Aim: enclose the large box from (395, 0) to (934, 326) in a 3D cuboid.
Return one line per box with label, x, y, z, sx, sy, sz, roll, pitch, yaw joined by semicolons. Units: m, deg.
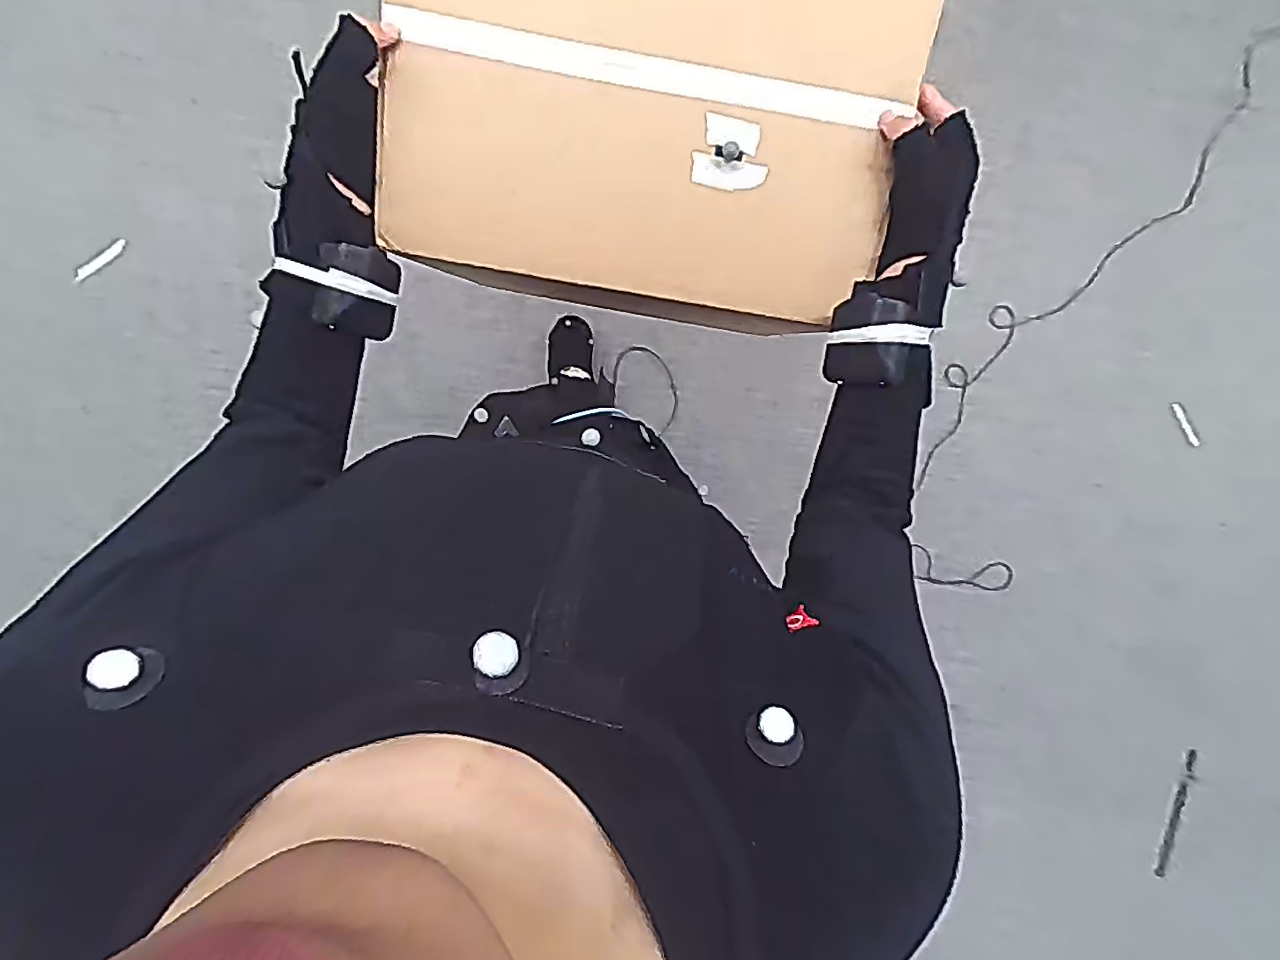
large box;0.009;-0.348;0.562;0.408;0.320;0.320;8;105;-4
